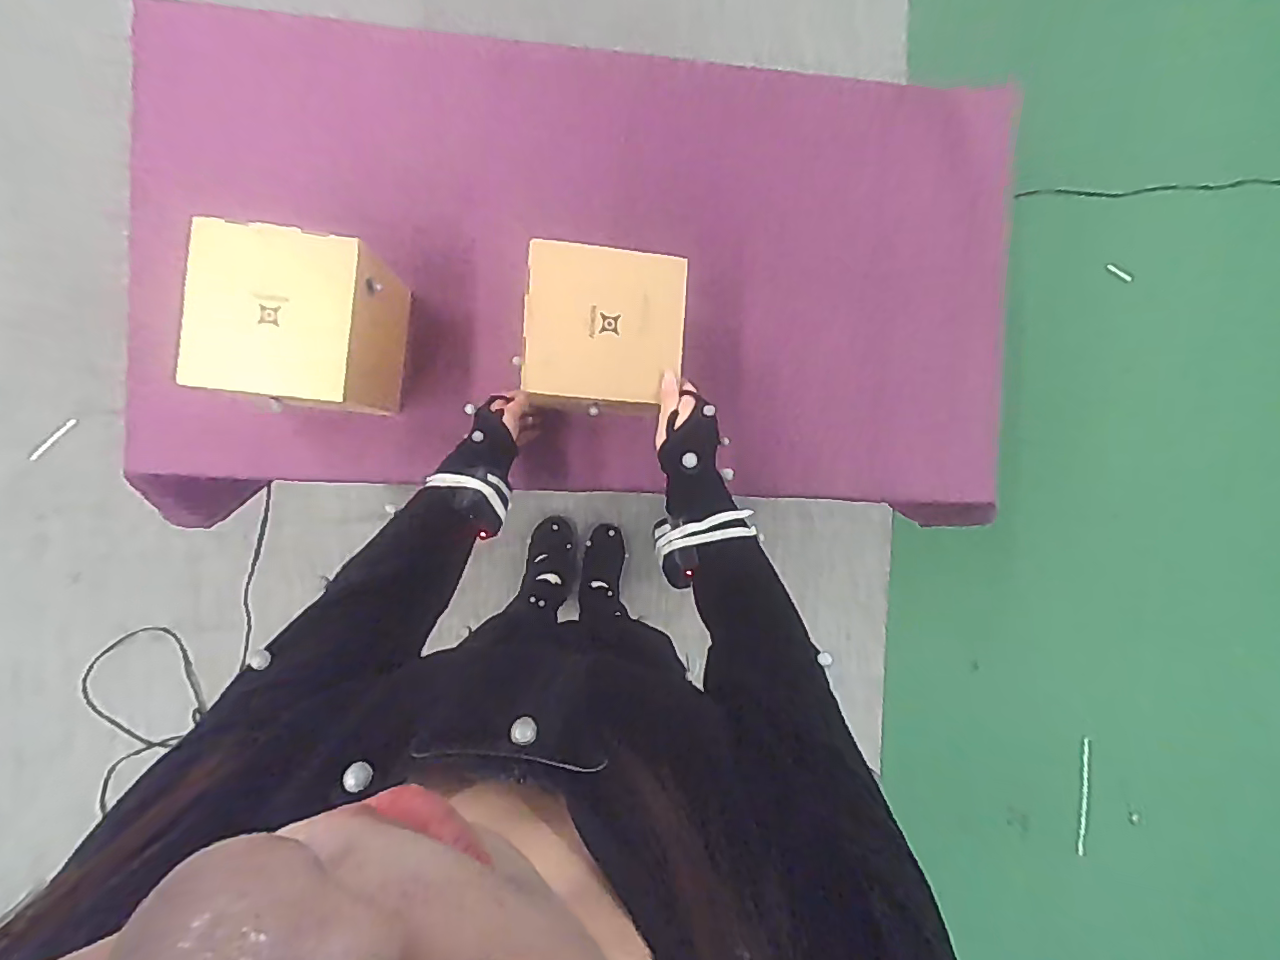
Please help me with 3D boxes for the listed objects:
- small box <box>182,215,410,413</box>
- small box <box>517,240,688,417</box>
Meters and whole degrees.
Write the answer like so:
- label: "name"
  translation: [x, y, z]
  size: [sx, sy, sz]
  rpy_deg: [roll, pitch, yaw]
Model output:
- label: "small box"
  translation: [-0.389, -0.179, 0.642]
  size: [0.168, 0.176, 0.179]
  rpy_deg: [6, 90, -5]
- label: "small box"
  translation: [-0.050, -0.172, 0.667]
  size: [0.179, 0.176, 0.168]
  rpy_deg: [5, 92, -9]
